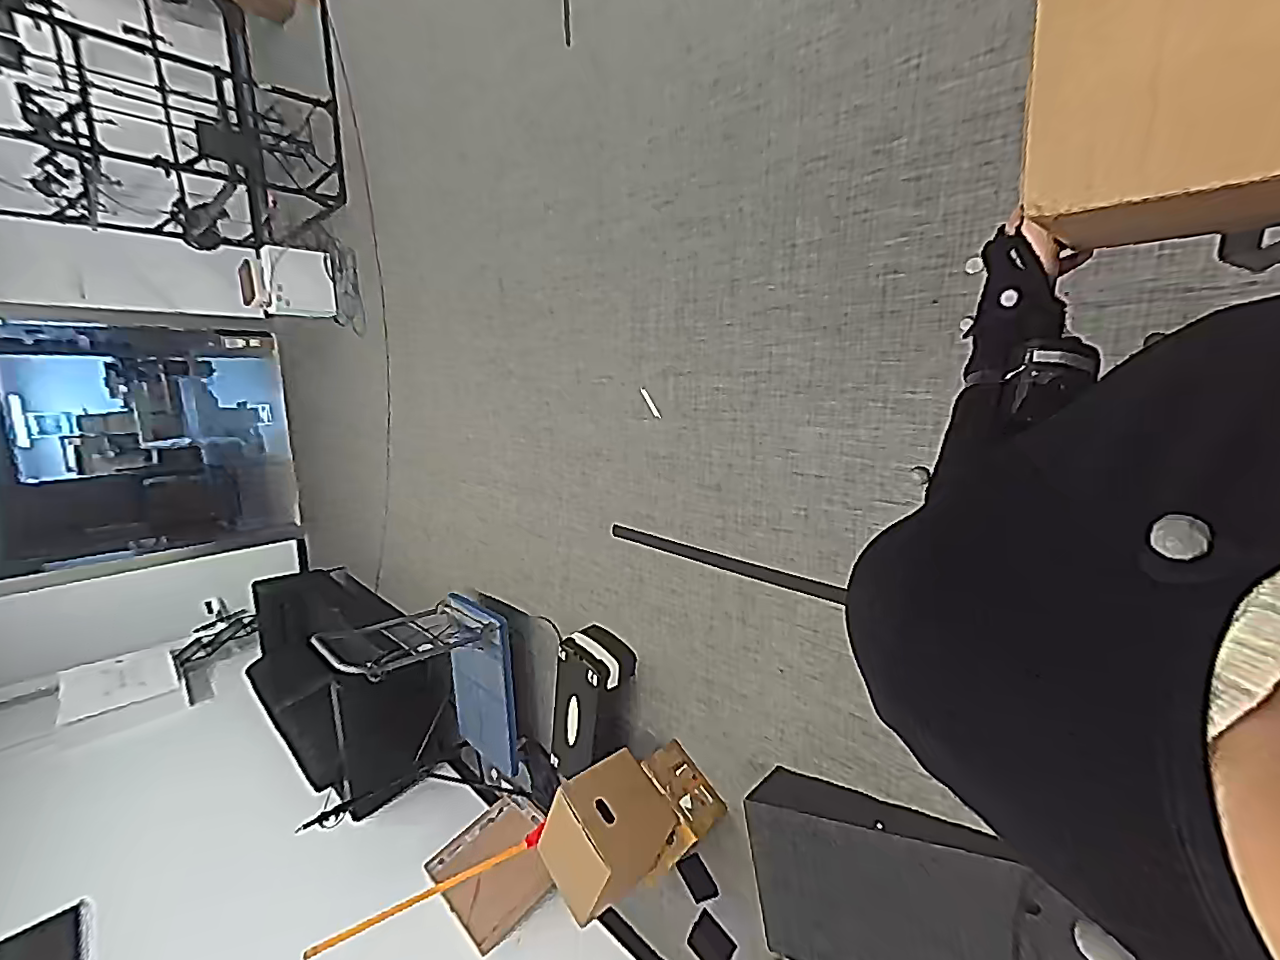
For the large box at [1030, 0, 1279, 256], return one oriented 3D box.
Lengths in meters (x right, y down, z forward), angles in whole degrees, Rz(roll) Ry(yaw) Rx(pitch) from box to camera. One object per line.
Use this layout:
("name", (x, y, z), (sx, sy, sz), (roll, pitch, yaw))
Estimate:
("large box", (0.434, -0.301, 0.230), (0.408, 0.320, 0.320), (7, 110, 40))
